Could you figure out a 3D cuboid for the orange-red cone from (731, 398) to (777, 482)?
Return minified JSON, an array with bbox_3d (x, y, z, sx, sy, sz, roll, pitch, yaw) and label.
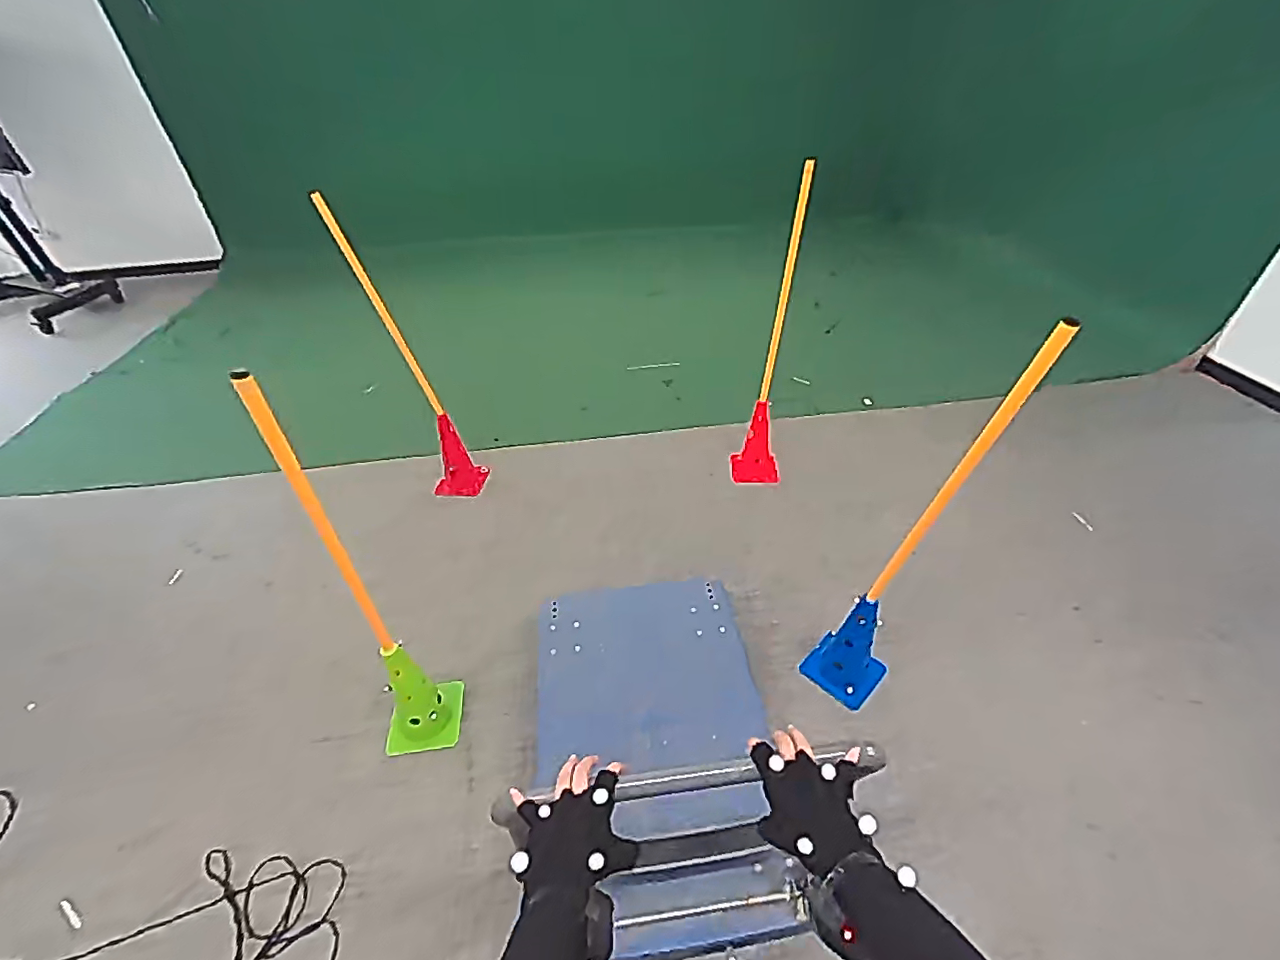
[{"bbox_3d":[0.496,-0.186,2.287,0.198,0.360,0.199,1,41,5],"label":"orange-red cone"}]
